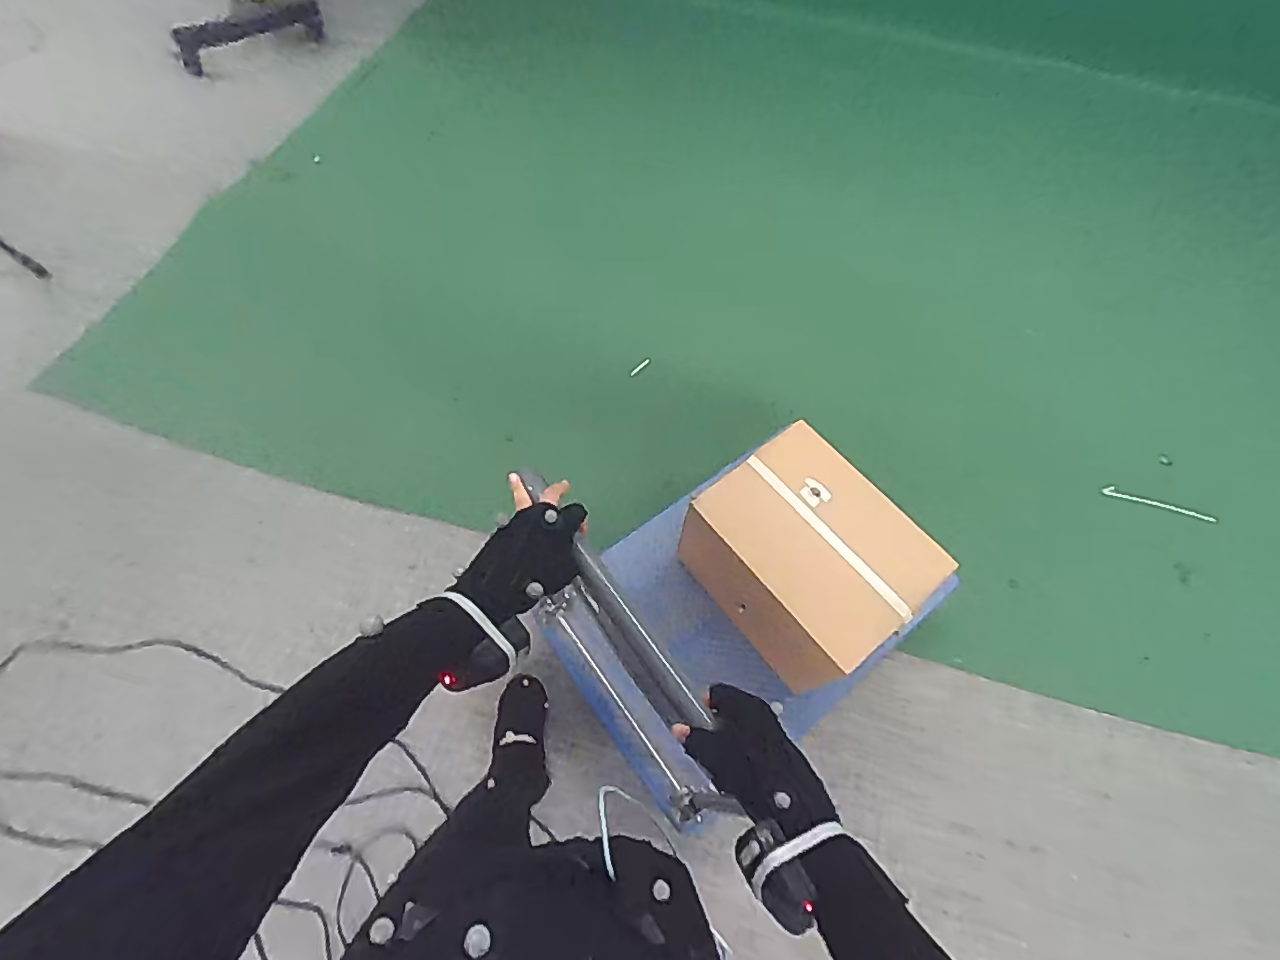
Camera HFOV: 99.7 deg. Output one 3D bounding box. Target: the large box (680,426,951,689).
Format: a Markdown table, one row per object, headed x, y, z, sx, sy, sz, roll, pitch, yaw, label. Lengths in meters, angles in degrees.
| x | y | z | sx | sy | sz | roll | pitch | yaw | label |
| --- | --- | --- | --- | --- | --- | --- | --- | --- | --- |
| 0.336 | 0.172 | 1.155 | 0.320 | 0.320 | 0.408 | -35 | 68 | -18 | large box |
